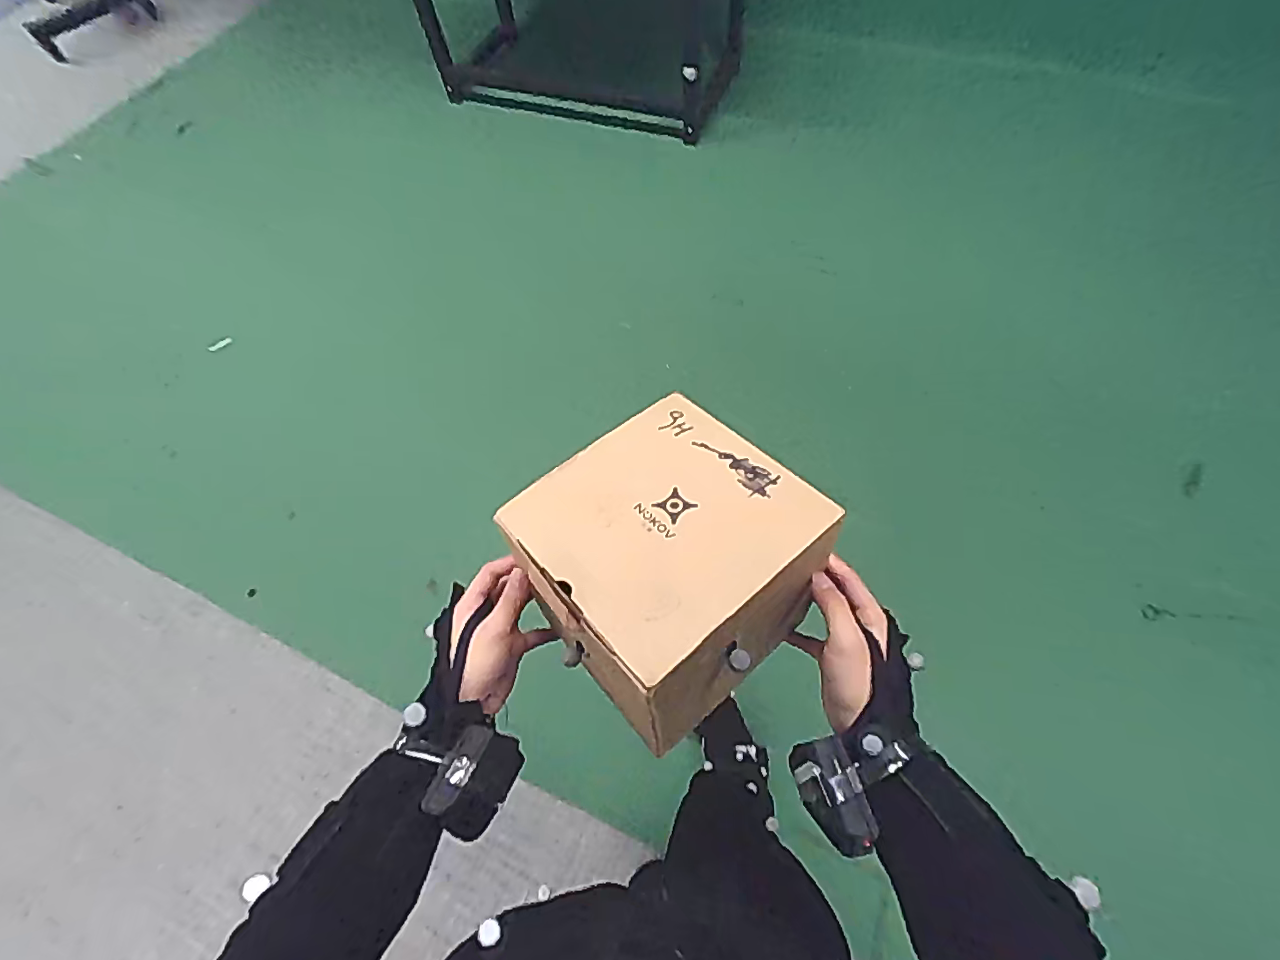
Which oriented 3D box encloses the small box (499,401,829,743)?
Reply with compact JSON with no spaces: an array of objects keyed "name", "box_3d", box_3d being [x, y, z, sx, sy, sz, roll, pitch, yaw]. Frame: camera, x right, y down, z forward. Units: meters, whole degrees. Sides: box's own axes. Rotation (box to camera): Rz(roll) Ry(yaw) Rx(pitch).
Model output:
[{"name":"small box","box_3d":[0.022,0.076,0.437,0.179,0.176,0.168,-36,56,-21]}]
